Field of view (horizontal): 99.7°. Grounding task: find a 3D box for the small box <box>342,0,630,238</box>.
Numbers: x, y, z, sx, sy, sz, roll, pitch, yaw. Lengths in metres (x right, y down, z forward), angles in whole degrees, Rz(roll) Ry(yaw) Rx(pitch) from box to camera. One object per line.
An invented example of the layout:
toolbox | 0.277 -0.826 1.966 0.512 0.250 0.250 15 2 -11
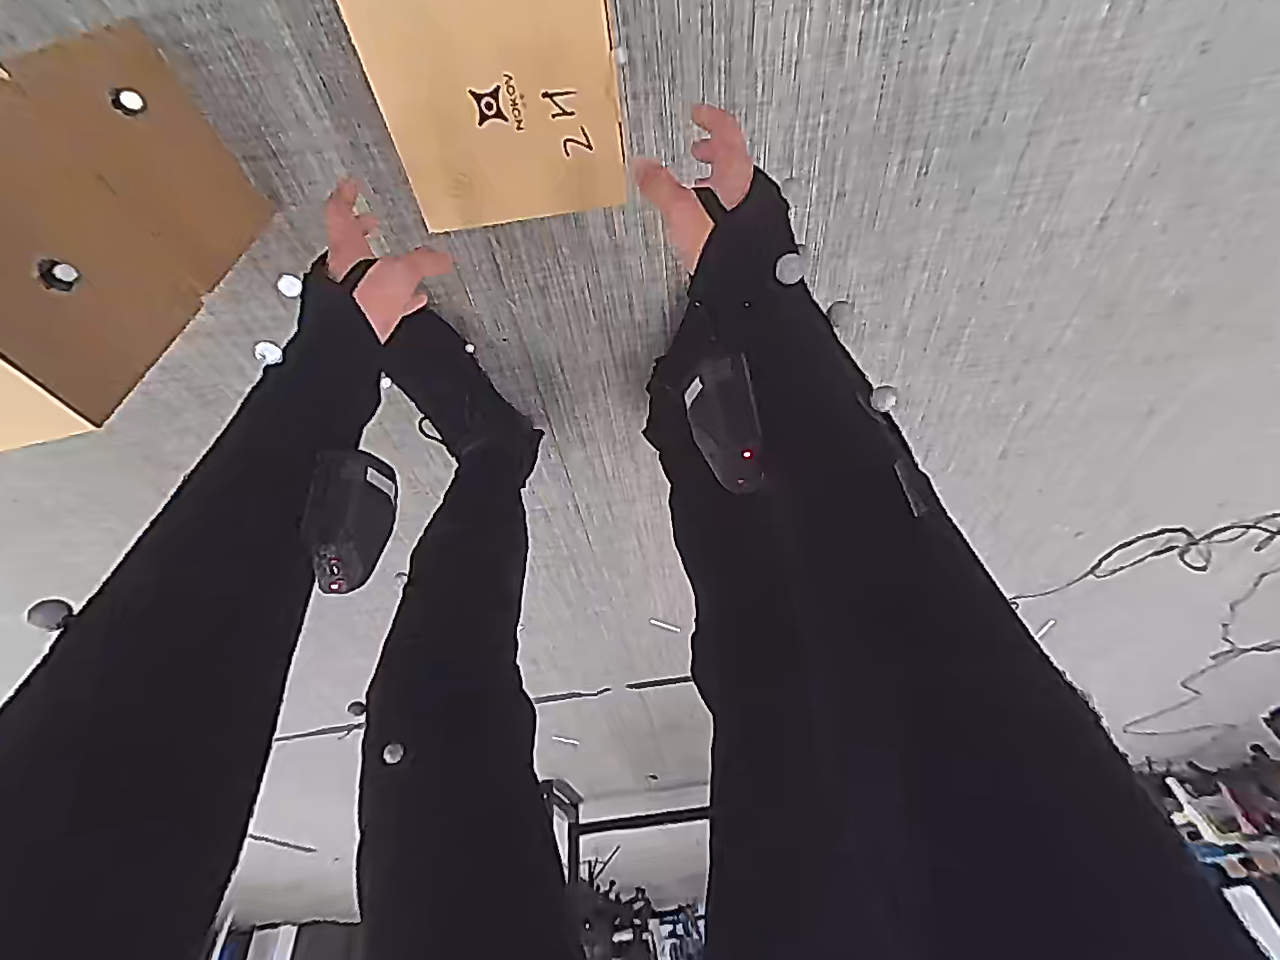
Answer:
small box | -0.107 -0.330 0.455 0.179 0.176 0.168 -8 139 0

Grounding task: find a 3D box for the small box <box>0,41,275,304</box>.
small box | -0.481 -0.260 0.483 0.168 0.176 0.179 -12 138 6

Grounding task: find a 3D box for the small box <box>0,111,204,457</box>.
small box | -0.473 -0.134 0.378 0.168 0.176 0.179 -10 139 5
